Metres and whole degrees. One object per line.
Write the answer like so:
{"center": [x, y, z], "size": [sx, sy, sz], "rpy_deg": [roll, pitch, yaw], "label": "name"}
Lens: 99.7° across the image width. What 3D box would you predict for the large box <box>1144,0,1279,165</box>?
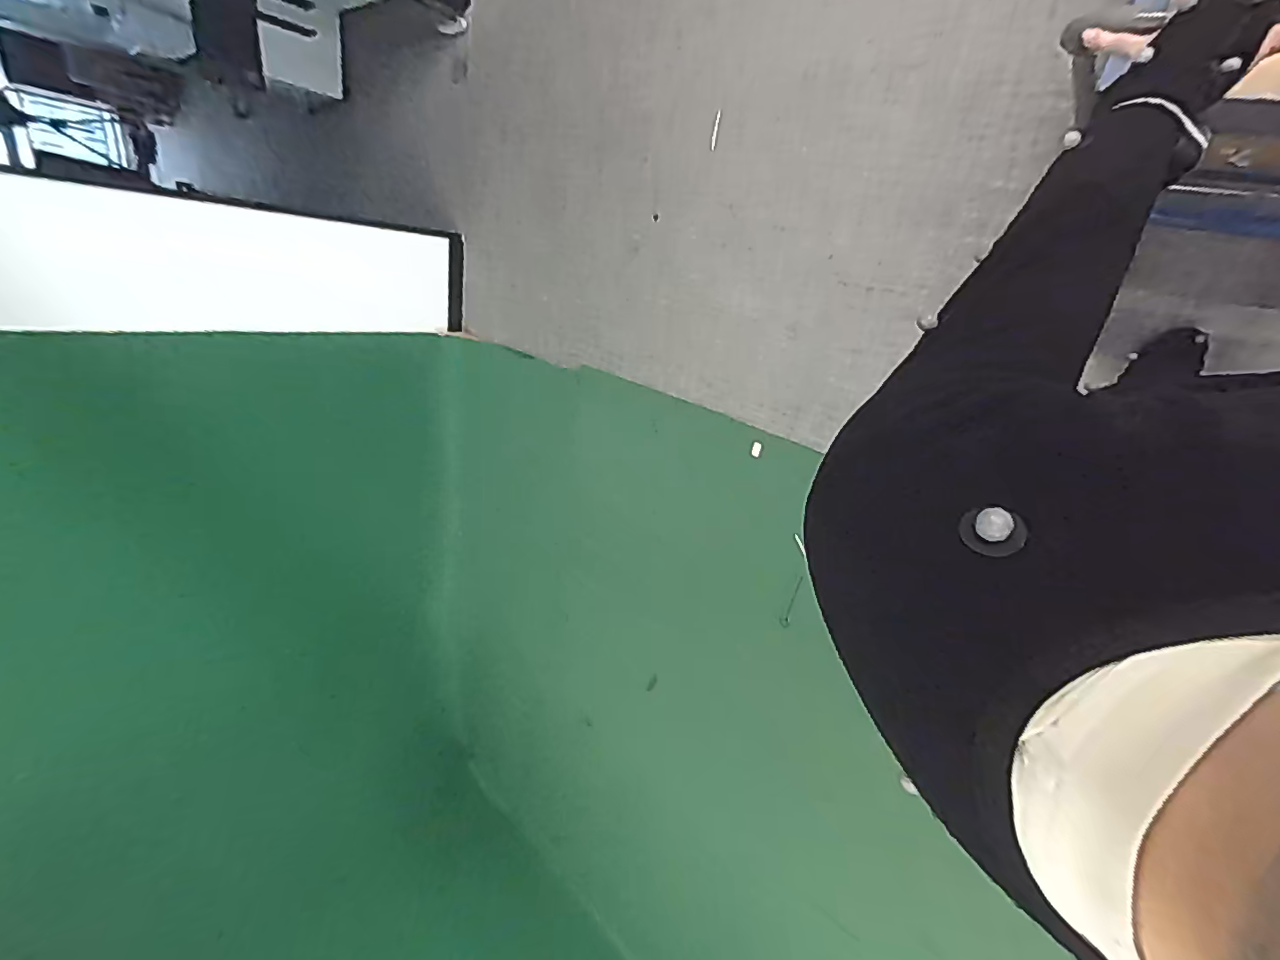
{"center": [0.997, -0.700, 0.751], "size": [0.320, 0.320, 0.408], "rpy_deg": [29, 117, 32], "label": "large box"}
